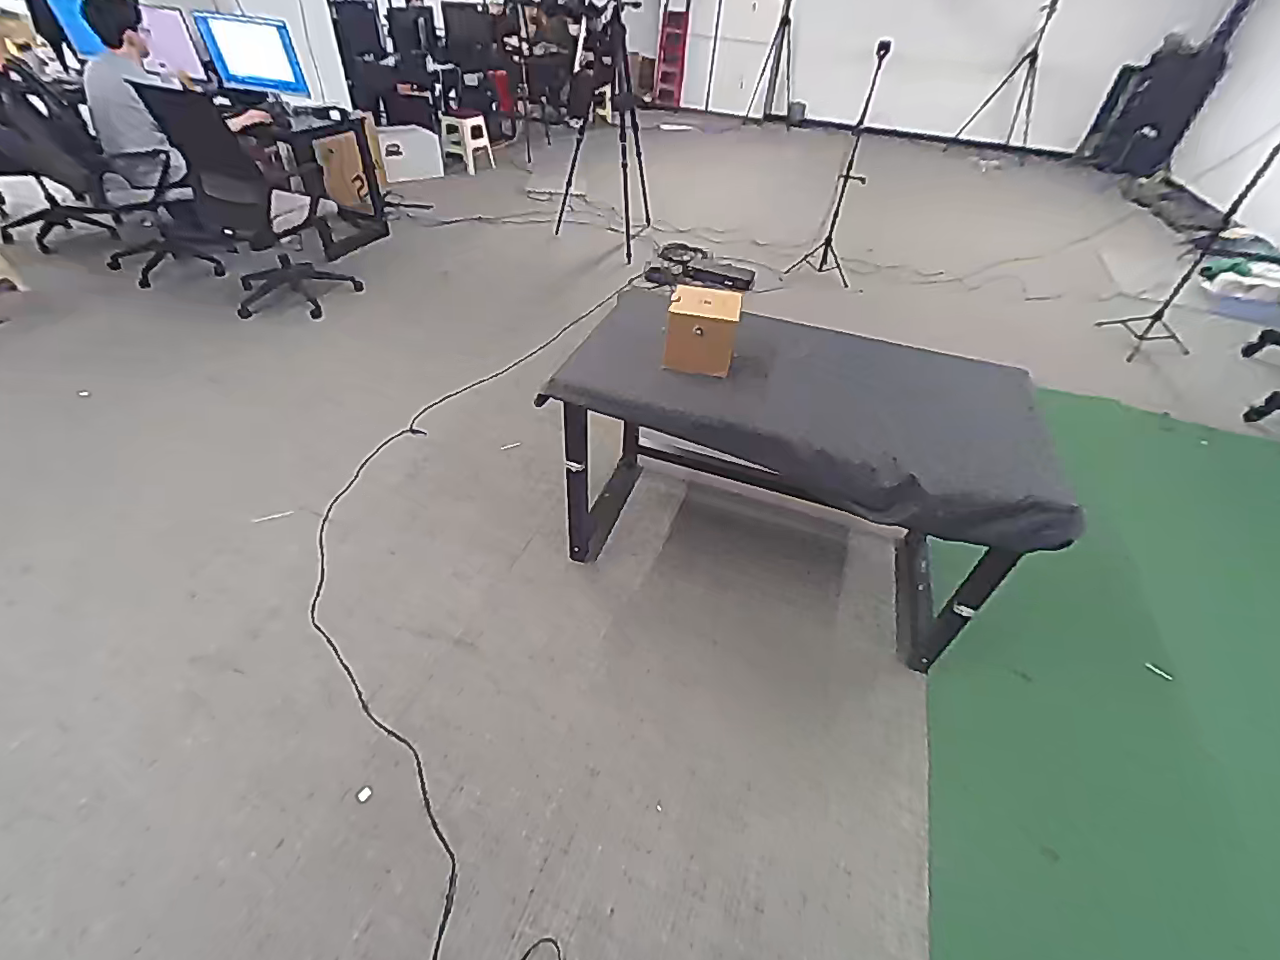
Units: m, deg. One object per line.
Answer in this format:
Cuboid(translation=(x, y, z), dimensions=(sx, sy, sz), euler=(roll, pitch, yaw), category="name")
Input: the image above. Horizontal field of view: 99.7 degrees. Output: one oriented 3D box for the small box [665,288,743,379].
Cuboid(translation=(0.167, -0.386, 1.432), dimensions=(0.179, 0.176, 0.168), euler=(11, 44, 4), category="small box")
